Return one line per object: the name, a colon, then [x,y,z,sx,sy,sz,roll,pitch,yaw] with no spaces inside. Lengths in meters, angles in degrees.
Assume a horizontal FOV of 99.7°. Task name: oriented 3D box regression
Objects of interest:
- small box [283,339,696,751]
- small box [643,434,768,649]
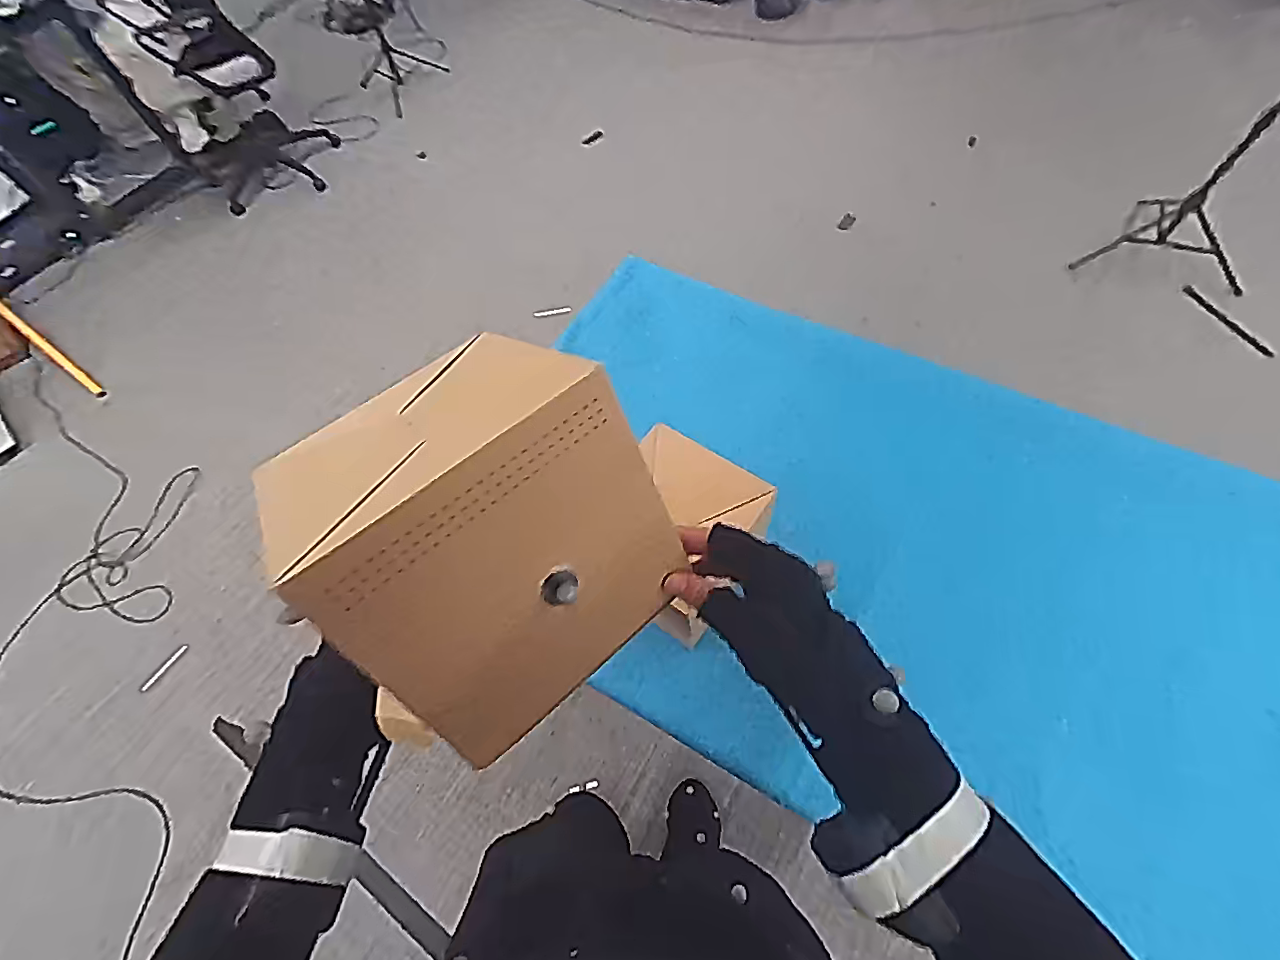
small box: [-0.098,0.026,0.359,0.179,0.176,0.168,-39,37,-19]
small box: [0.040,0.076,0.671,0.168,0.176,0.179,32,69,20]
